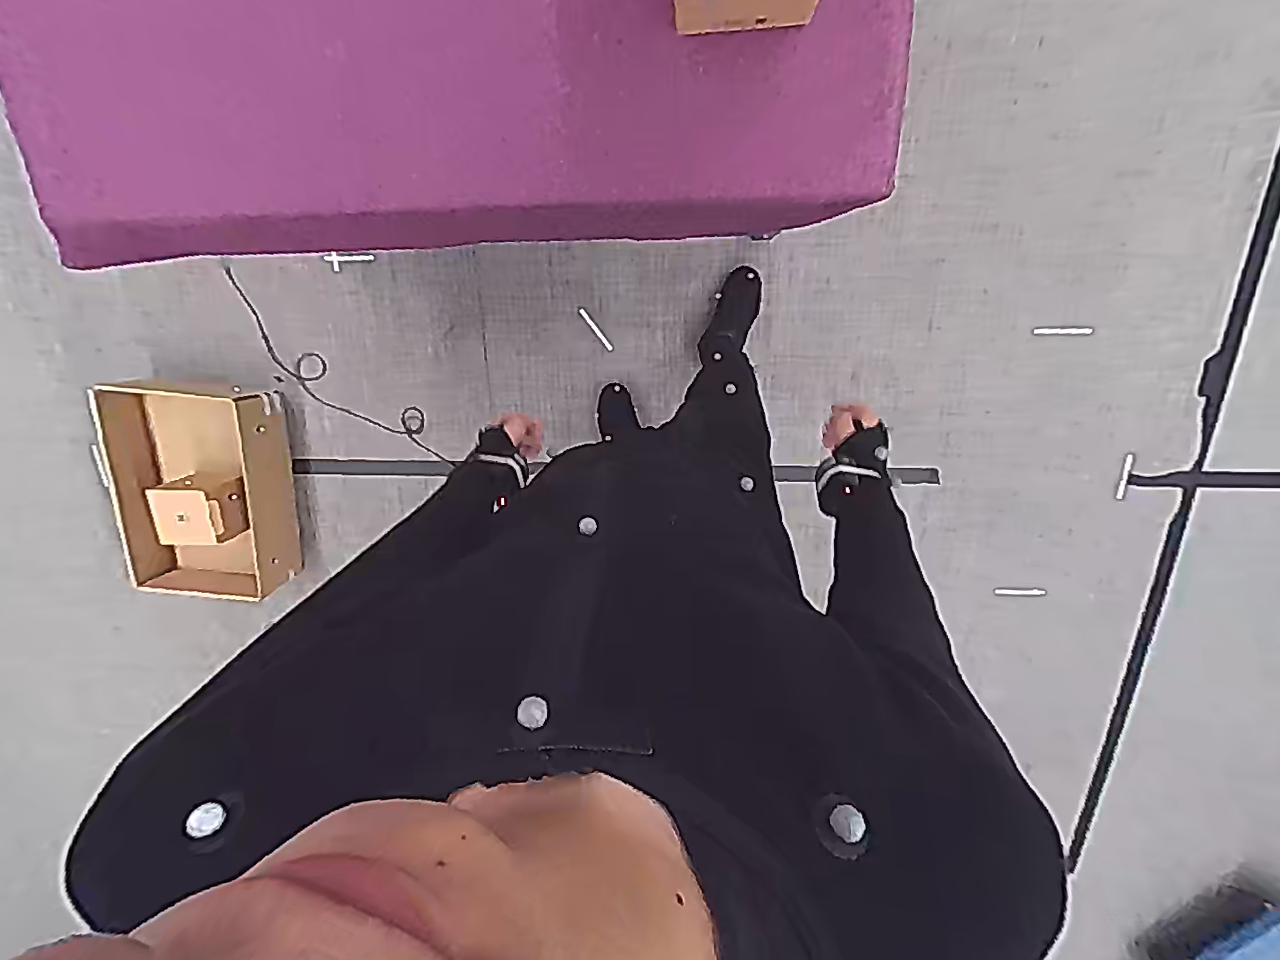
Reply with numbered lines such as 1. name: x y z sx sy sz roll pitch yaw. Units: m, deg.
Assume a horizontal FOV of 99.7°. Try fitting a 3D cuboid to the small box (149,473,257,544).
1. small box: -1.266 0.078 1.585 0.179 0.176 0.168 1 106 2
